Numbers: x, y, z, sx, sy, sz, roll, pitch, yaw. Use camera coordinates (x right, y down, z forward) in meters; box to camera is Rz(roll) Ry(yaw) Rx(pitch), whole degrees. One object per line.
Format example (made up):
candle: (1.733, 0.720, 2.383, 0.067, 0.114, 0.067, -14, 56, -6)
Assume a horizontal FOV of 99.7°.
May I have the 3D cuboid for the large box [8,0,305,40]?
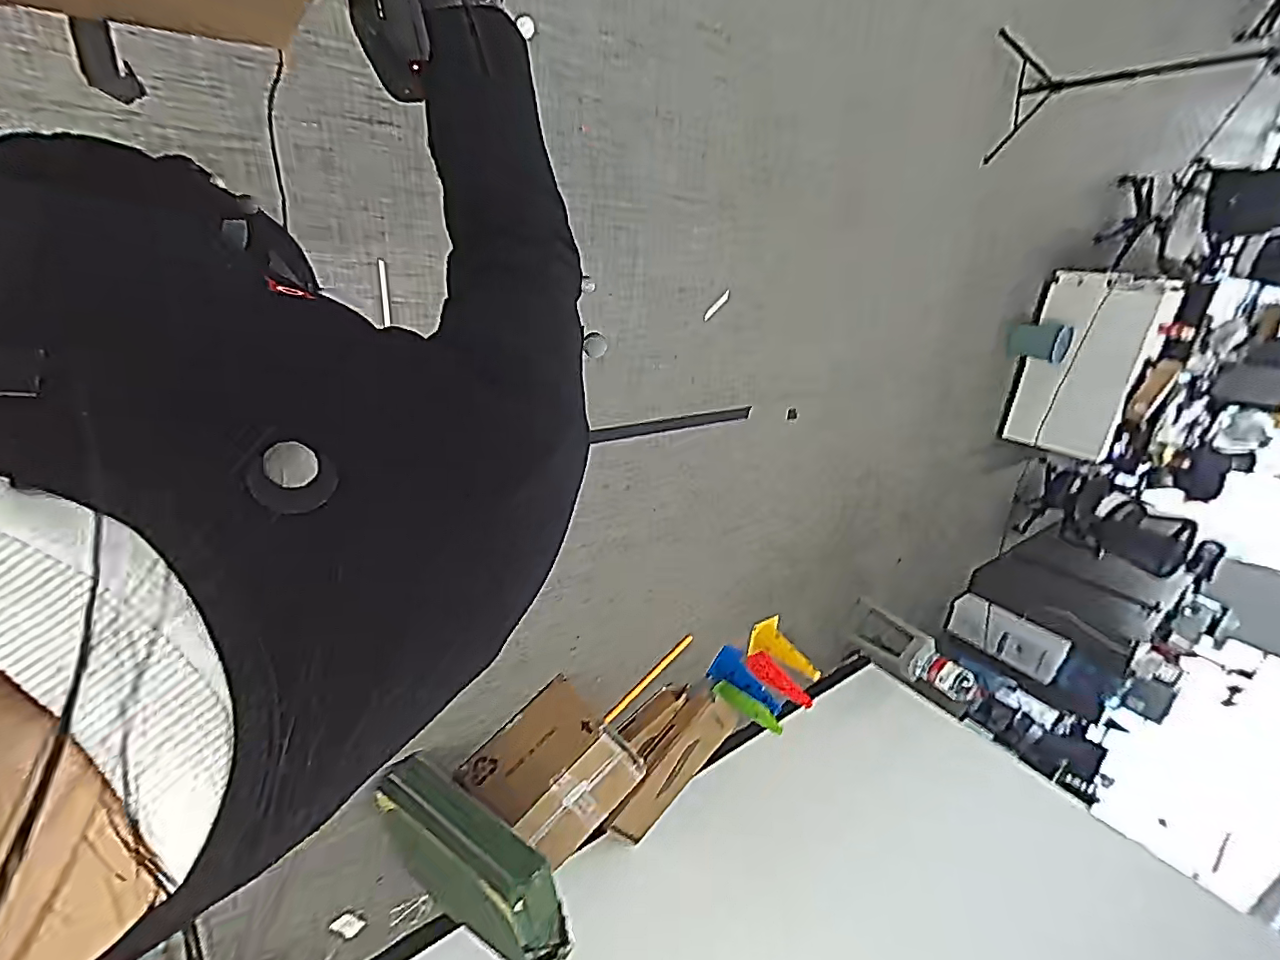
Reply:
large box: (-0.409, -0.447, 0.238, 0.408, 0.320, 0.320, -17, 124, -33)
